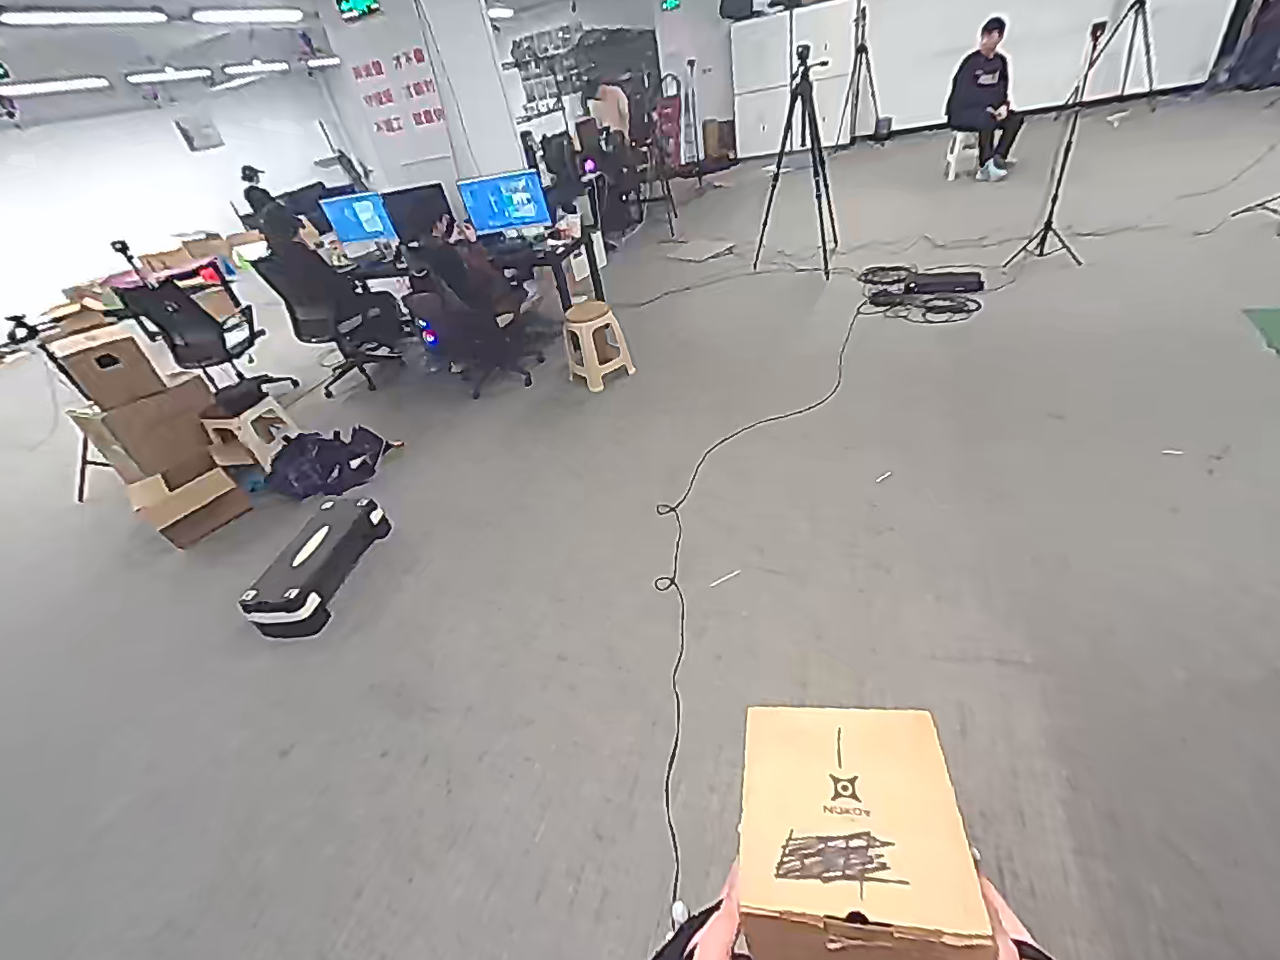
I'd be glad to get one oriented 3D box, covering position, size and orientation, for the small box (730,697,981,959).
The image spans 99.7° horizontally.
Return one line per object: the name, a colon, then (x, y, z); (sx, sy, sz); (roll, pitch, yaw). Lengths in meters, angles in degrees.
small box: (0.179, 0.319, 0.472); (0.168, 0.176, 0.179); (-5, 27, 17)
